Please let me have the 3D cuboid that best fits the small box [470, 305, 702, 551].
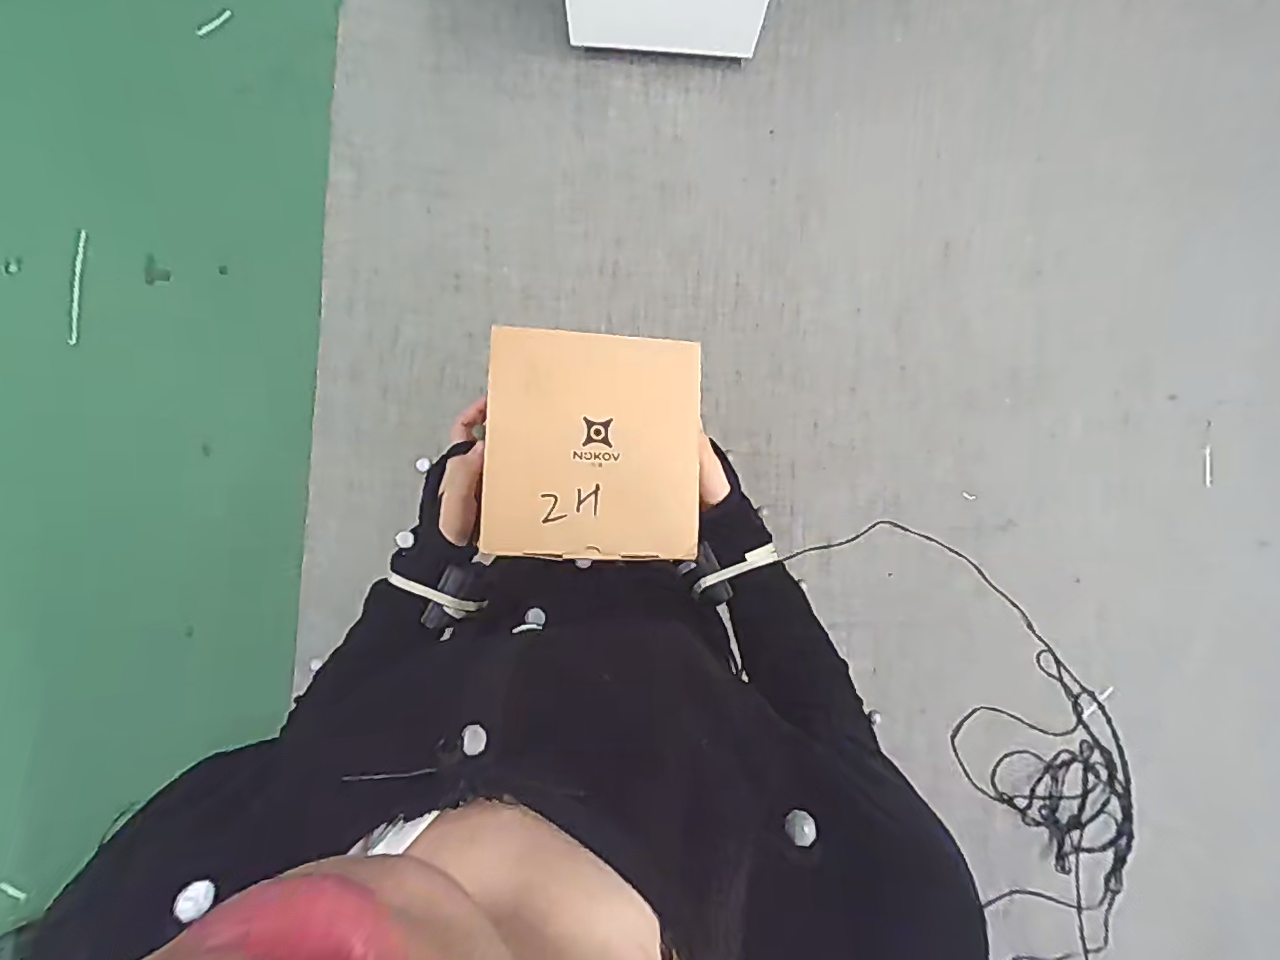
[{"bbox_3d":[-0.048,-0.029,0.475,0.168,0.176,0.179,3,84,-8],"label":"small box"}]
